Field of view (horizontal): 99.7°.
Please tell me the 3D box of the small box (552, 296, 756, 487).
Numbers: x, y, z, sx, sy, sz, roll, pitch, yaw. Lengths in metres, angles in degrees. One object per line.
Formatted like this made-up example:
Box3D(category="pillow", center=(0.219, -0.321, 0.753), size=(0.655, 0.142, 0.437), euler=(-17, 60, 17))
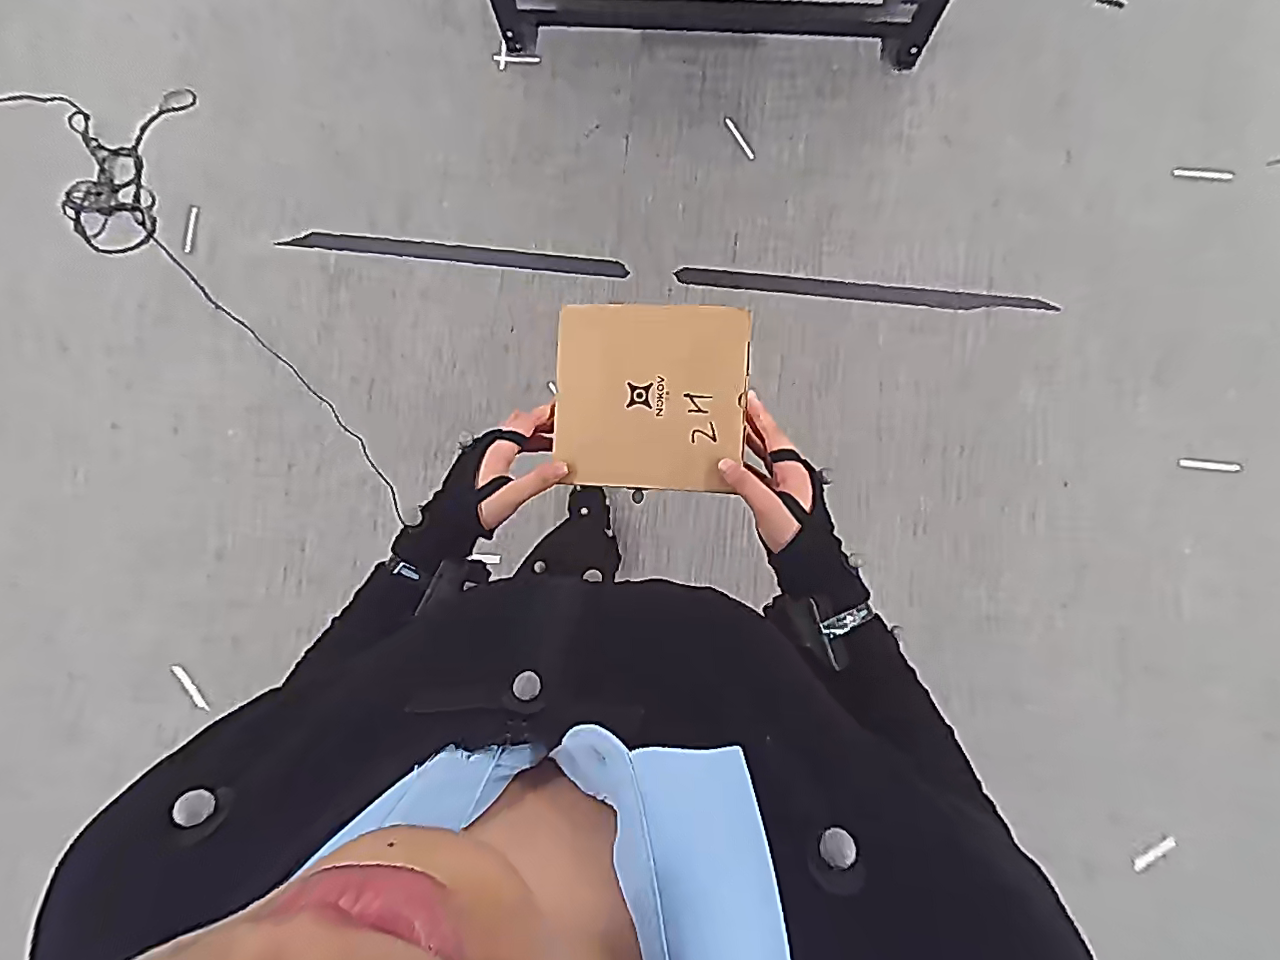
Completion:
Box3D(category="small box", center=(0.020, -0.081, 0.556), size=(0.179, 0.176, 0.168), euler=(3, 92, 7))
